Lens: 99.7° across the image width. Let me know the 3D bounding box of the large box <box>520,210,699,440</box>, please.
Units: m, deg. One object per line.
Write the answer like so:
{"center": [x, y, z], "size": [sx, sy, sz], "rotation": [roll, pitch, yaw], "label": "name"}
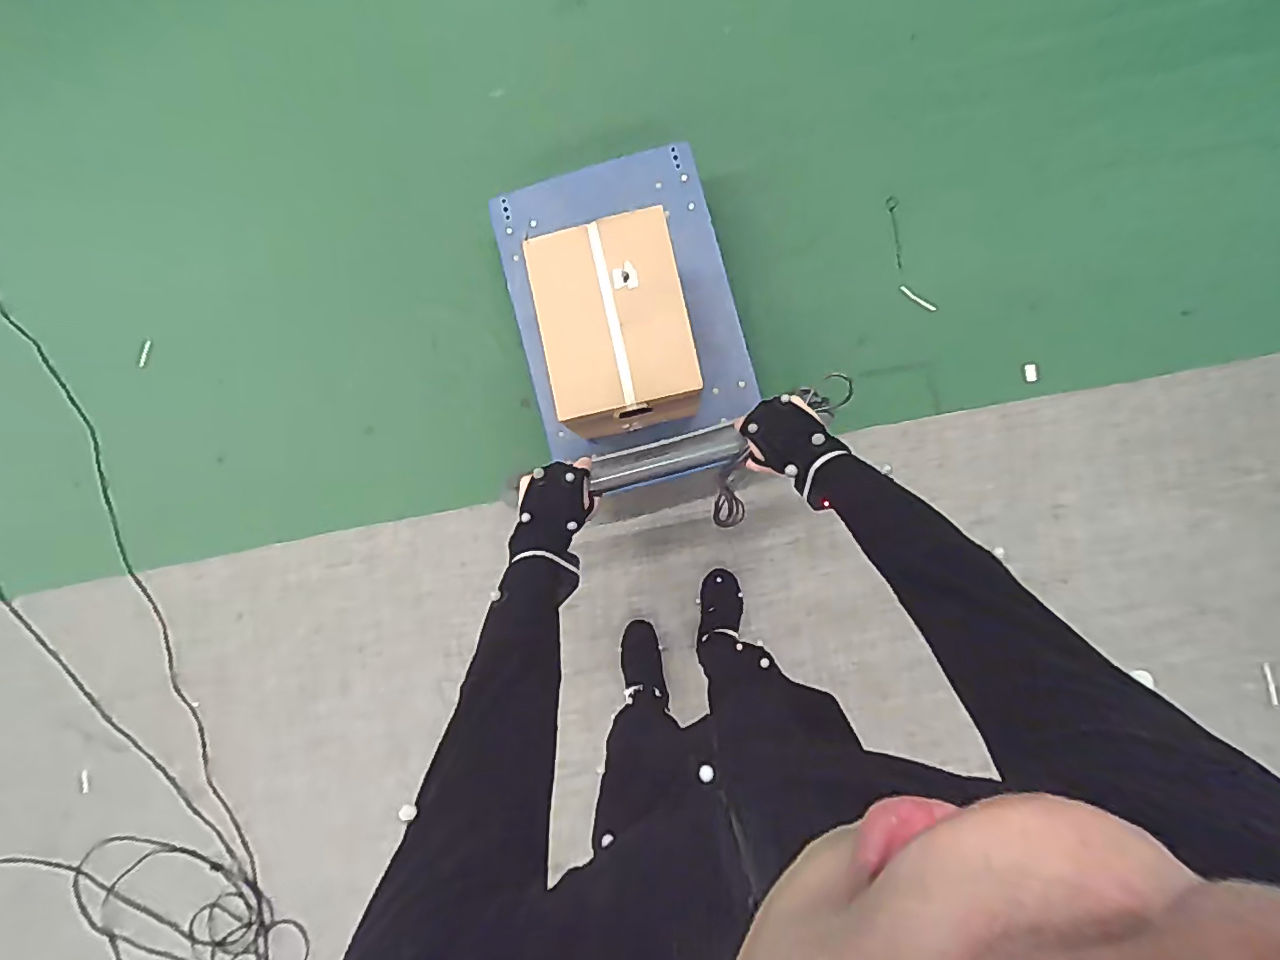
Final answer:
{"center": [-0.055, -0.338, 1.285], "size": [0.320, 0.320, 0.408], "rotation": [-12, 85, 3], "label": "large box"}
